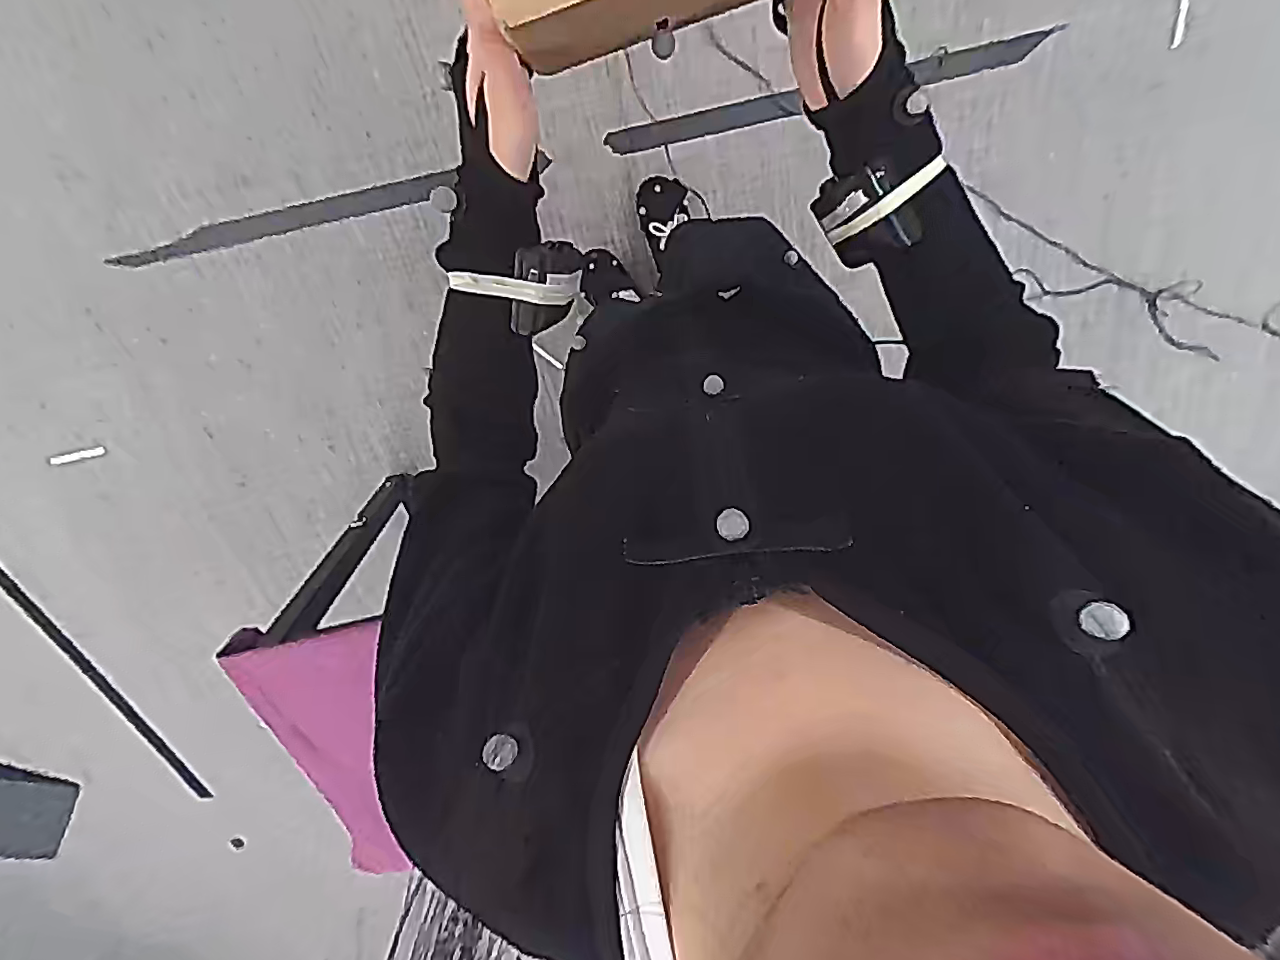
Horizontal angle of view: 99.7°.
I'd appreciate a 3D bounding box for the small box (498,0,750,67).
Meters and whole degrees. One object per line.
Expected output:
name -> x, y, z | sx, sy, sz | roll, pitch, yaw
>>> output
small box -> -0.005, -0.343, 0.274 | 0.179, 0.176, 0.168 | -15, 119, 5
